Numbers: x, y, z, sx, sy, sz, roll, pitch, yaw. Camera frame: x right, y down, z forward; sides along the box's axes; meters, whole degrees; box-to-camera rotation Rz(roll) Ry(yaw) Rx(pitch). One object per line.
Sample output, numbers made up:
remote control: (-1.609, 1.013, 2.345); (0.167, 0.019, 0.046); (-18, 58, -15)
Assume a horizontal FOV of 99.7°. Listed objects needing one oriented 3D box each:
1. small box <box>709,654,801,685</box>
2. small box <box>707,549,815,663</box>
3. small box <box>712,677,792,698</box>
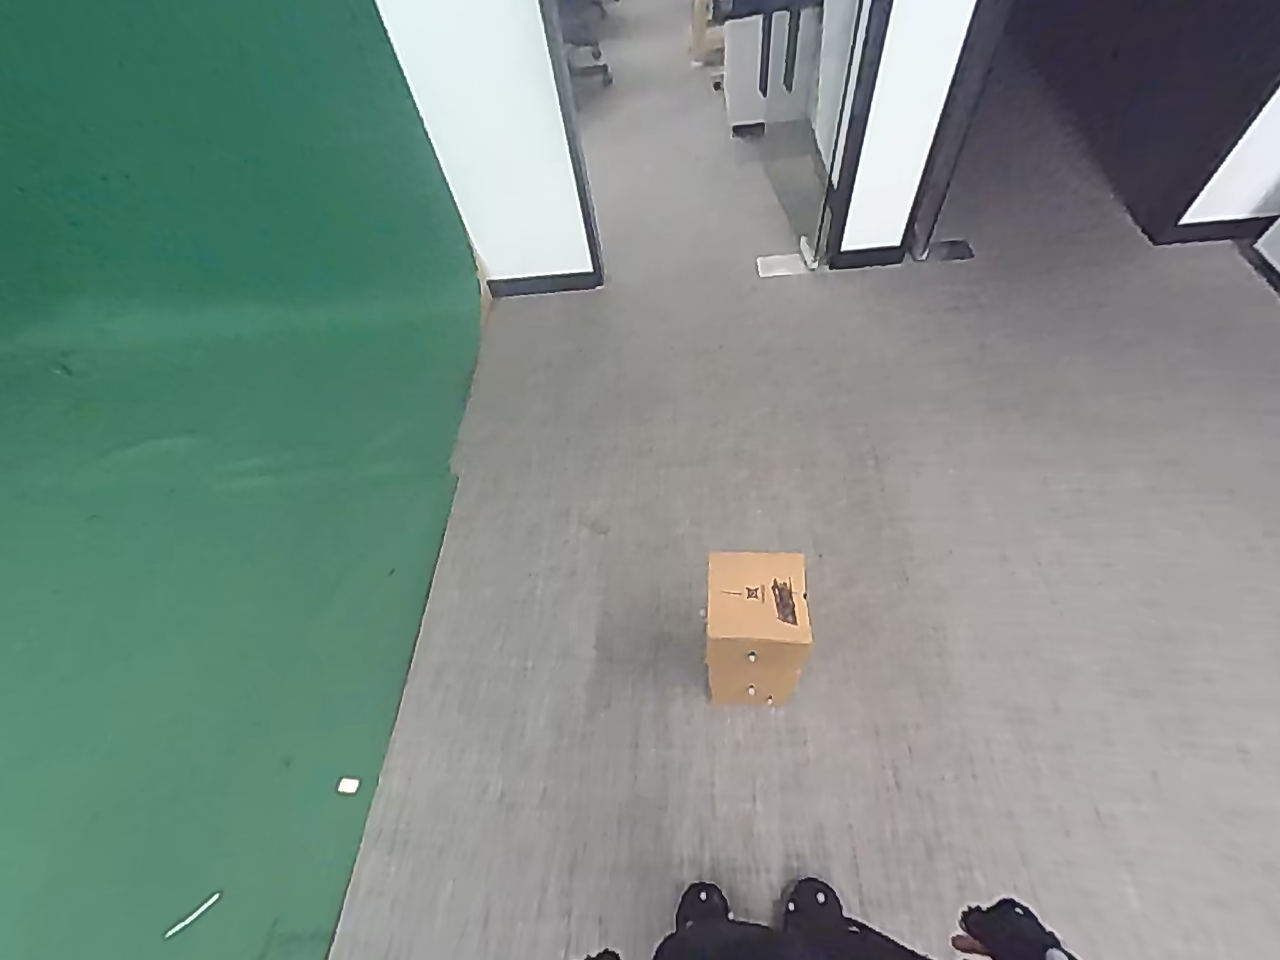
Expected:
small box: (0.241, 0.333, 1.158); (0.179, 0.176, 0.168); (3, 57, 9)
small box: (0.219, 0.241, 1.023); (0.179, 0.176, 0.168); (-1, 57, 6)
small box: (0.260, 0.418, 1.296); (0.179, 0.176, 0.168); (-2, 56, 8)
